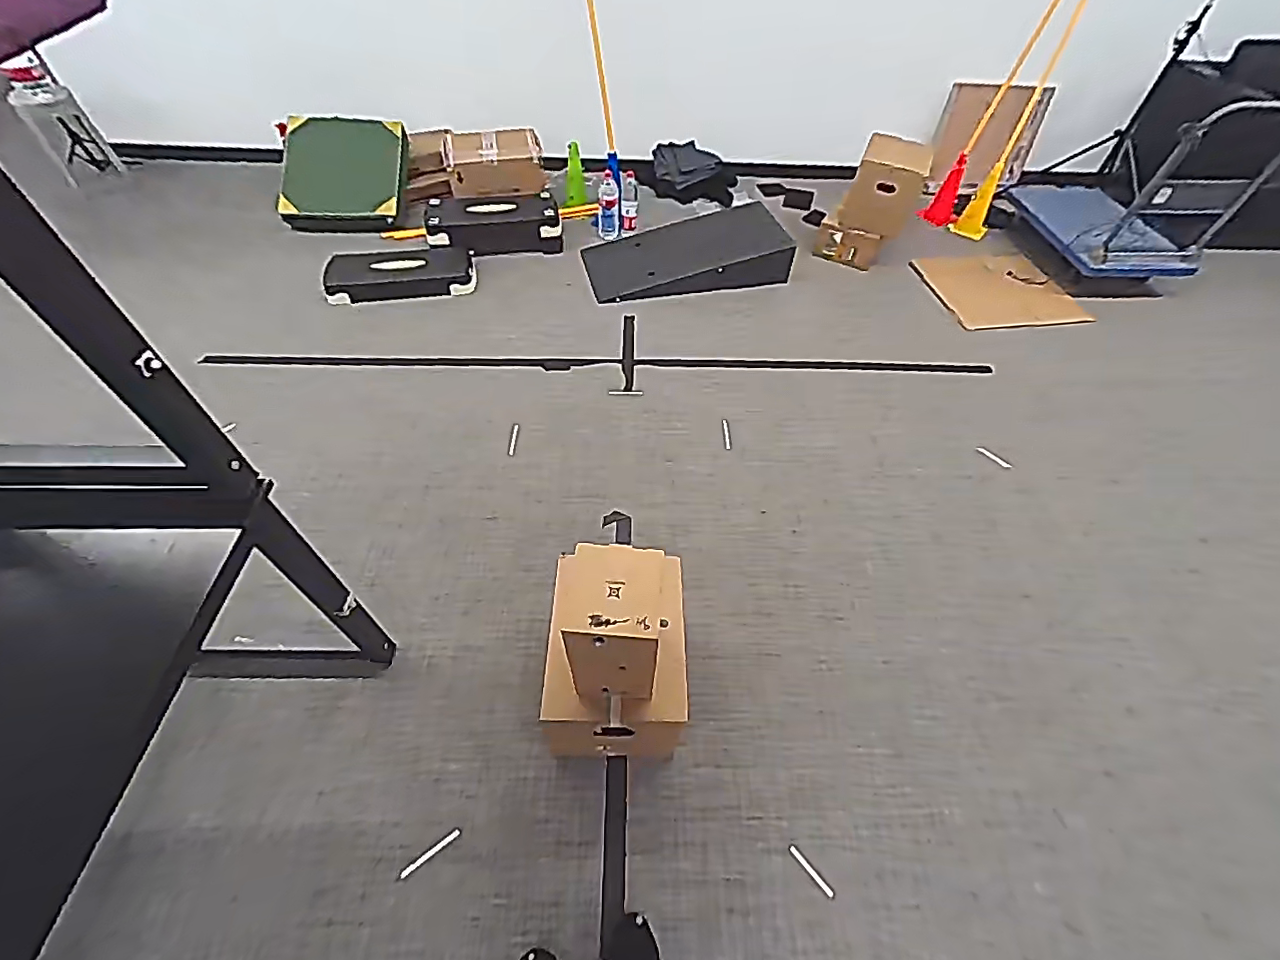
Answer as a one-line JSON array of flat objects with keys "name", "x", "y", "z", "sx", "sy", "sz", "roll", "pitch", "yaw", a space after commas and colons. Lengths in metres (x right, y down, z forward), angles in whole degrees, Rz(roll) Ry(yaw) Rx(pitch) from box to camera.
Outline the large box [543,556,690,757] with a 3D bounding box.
[{"name": "large box", "x": -0.056, "y": 0.445, "z": 1.360, "sx": 0.320, "sy": 0.320, "sz": 0.408, "roll": 2, "pitch": 50, "yaw": -2}]

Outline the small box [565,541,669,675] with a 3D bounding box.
[{"name": "small box", "x": -0.038, "y": 0.238, "z": 1.003, "sx": 0.168, "sy": 0.176, "sz": 0.179, "roll": 5, "pitch": 50, "yaw": 3}]

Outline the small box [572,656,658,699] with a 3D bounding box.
[{"name": "small box", "x": -0.044, "y": 0.338, "z": 1.132, "sx": 0.168, "sy": 0.176, "sz": 0.179, "roll": 4, "pitch": 51, "yaw": 2}]
